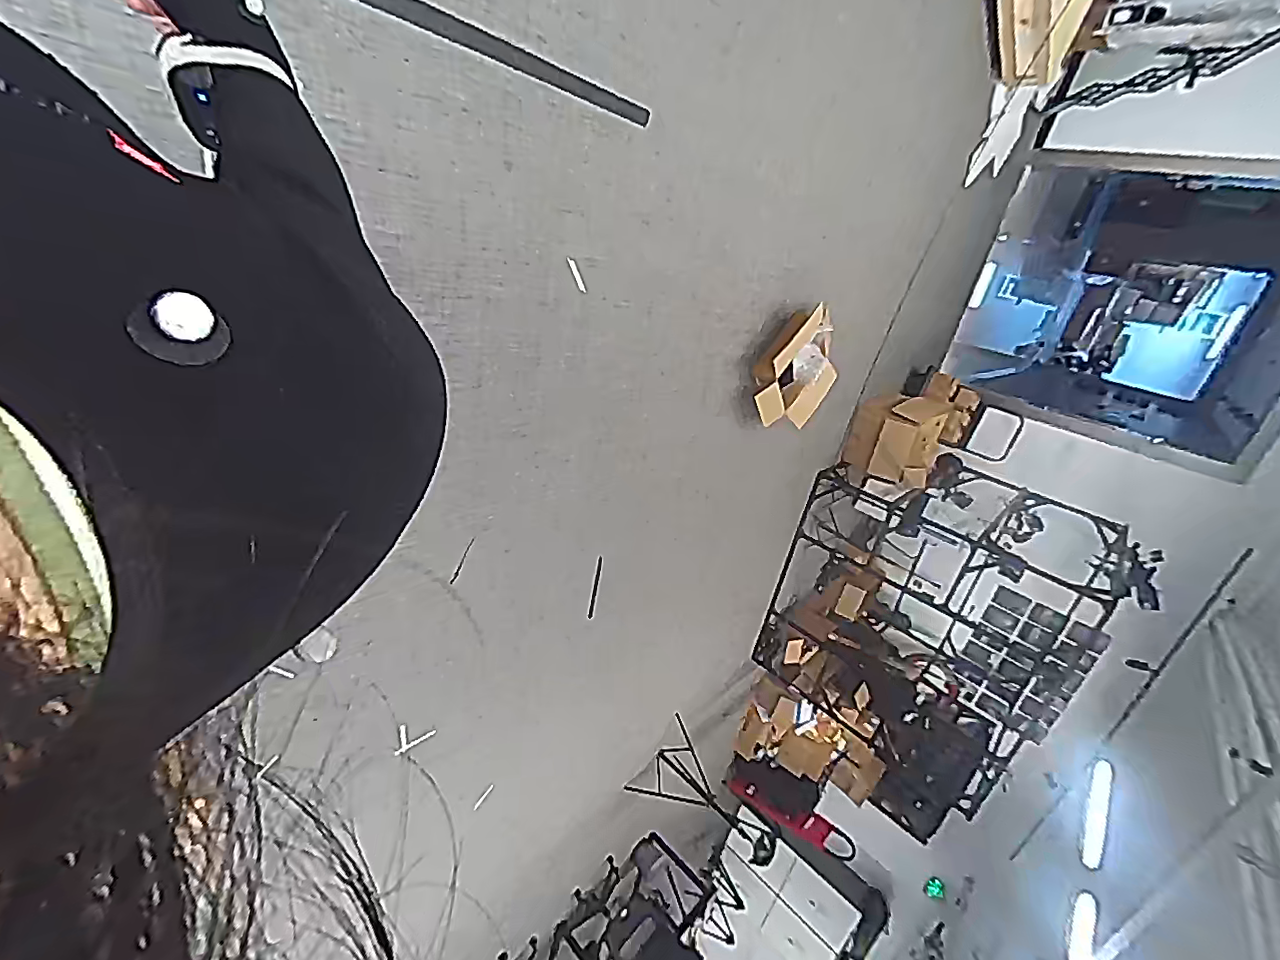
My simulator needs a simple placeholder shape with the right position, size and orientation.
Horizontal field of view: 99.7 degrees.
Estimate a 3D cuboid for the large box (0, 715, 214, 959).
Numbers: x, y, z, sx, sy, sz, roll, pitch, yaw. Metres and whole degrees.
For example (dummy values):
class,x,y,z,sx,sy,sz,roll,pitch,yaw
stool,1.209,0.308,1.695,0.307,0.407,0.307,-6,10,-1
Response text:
class,x,y,z,sx,sy,sz,roll,pitch,yaw
large box,-1.339,0.867,1.331,0.408,0.320,0.320,-6,118,-51
